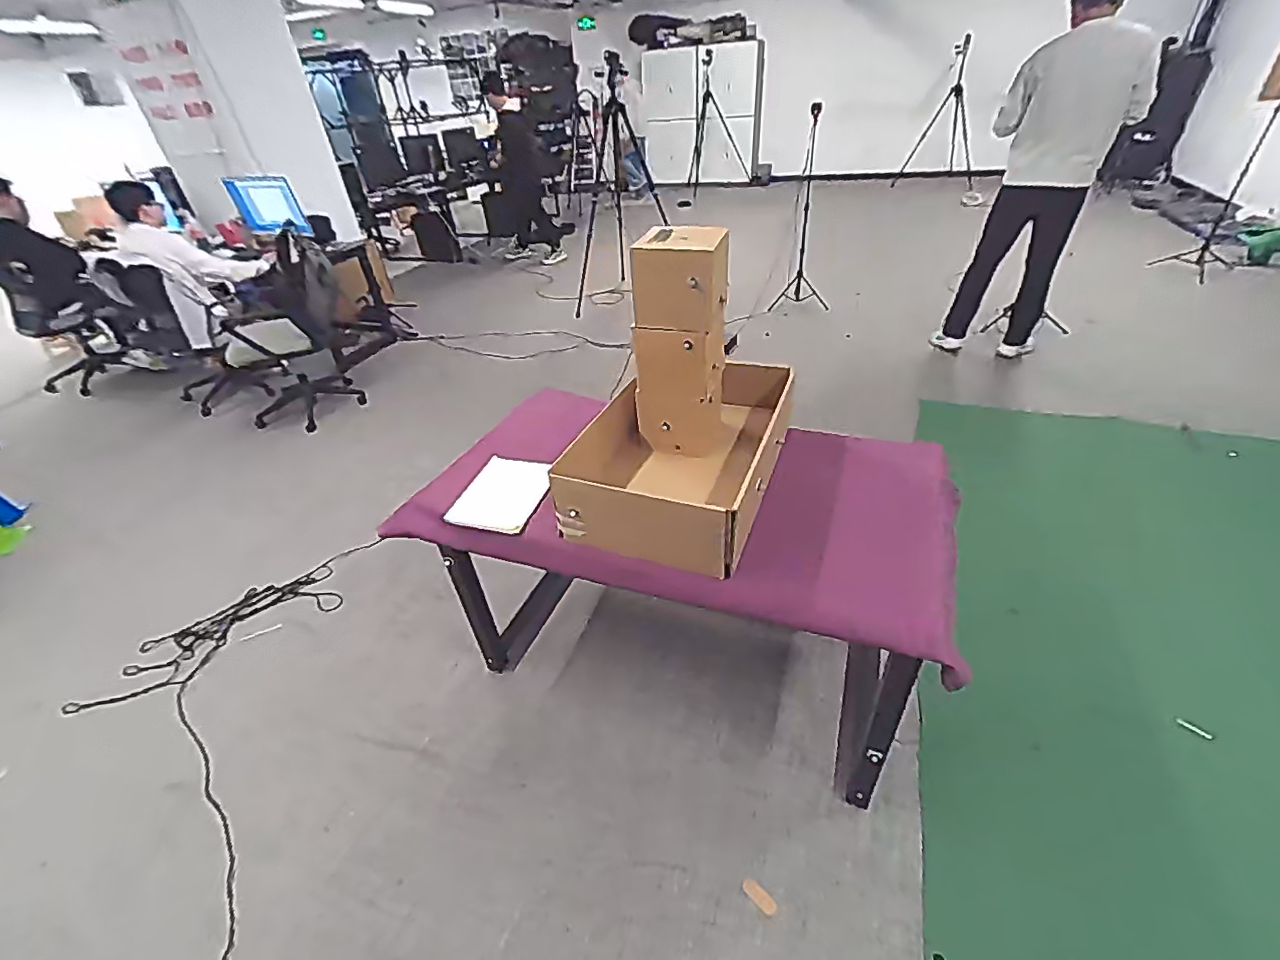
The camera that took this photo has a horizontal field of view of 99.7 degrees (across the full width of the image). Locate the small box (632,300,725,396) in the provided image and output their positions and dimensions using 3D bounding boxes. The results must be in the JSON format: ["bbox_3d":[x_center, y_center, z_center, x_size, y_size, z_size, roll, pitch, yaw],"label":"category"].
[{"bbox_3d":[0.096,-0.311,1.272,0.179,0.176,0.168,10,41,19],"label":"small box"}]

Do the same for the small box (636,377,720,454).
[{"bbox_3d":[0.106,-0.187,1.375,0.168,0.176,0.179,11,42,21],"label":"small box"}]
